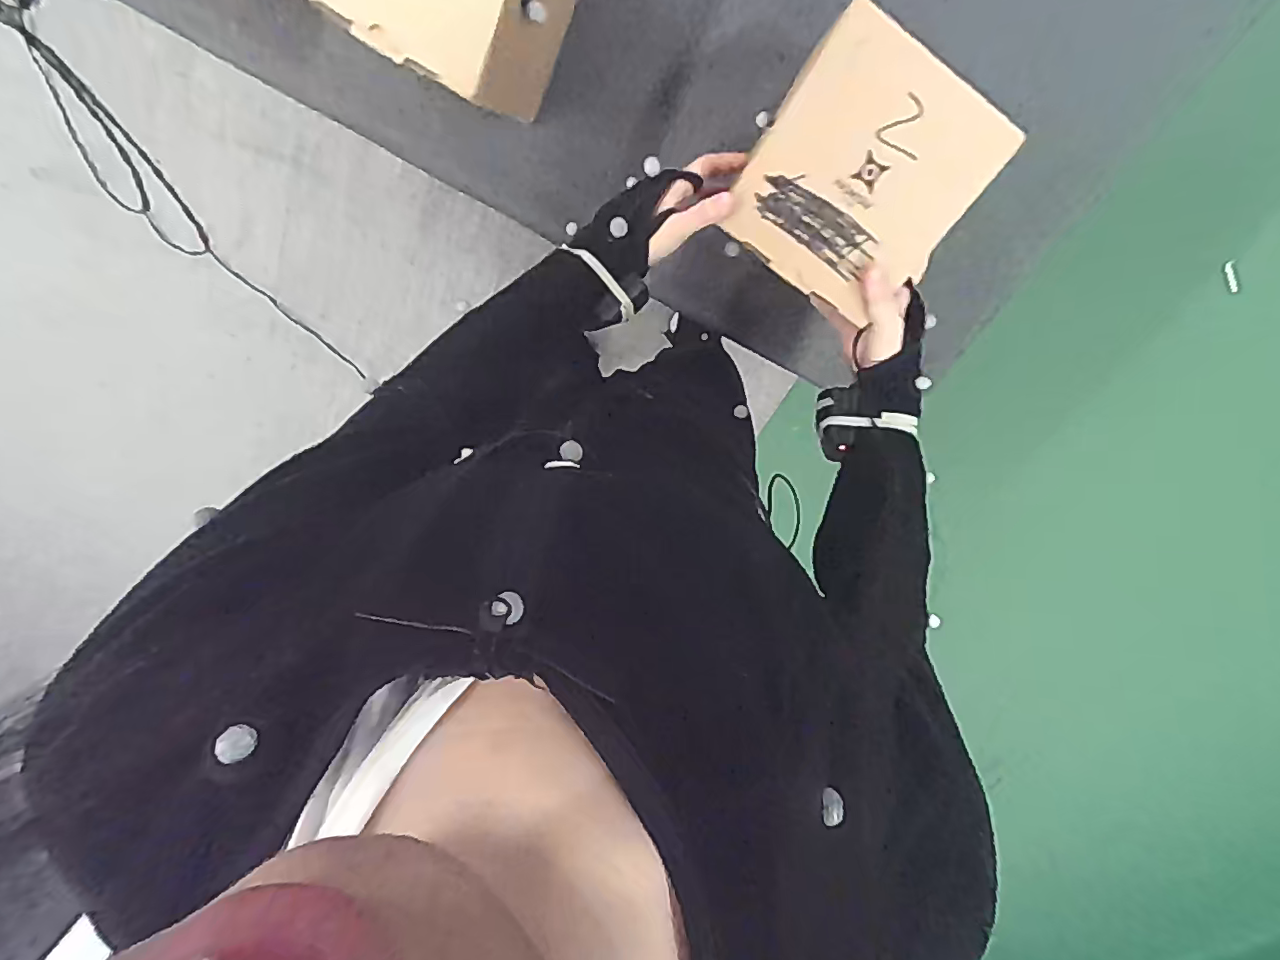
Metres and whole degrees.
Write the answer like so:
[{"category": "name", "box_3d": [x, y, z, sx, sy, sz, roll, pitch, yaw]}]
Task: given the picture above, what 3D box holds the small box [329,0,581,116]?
[{"category": "small box", "box_3d": [-0.146, -0.440, 0.445, 0.168, 0.176, 0.179, 28, 117, -10]}]
